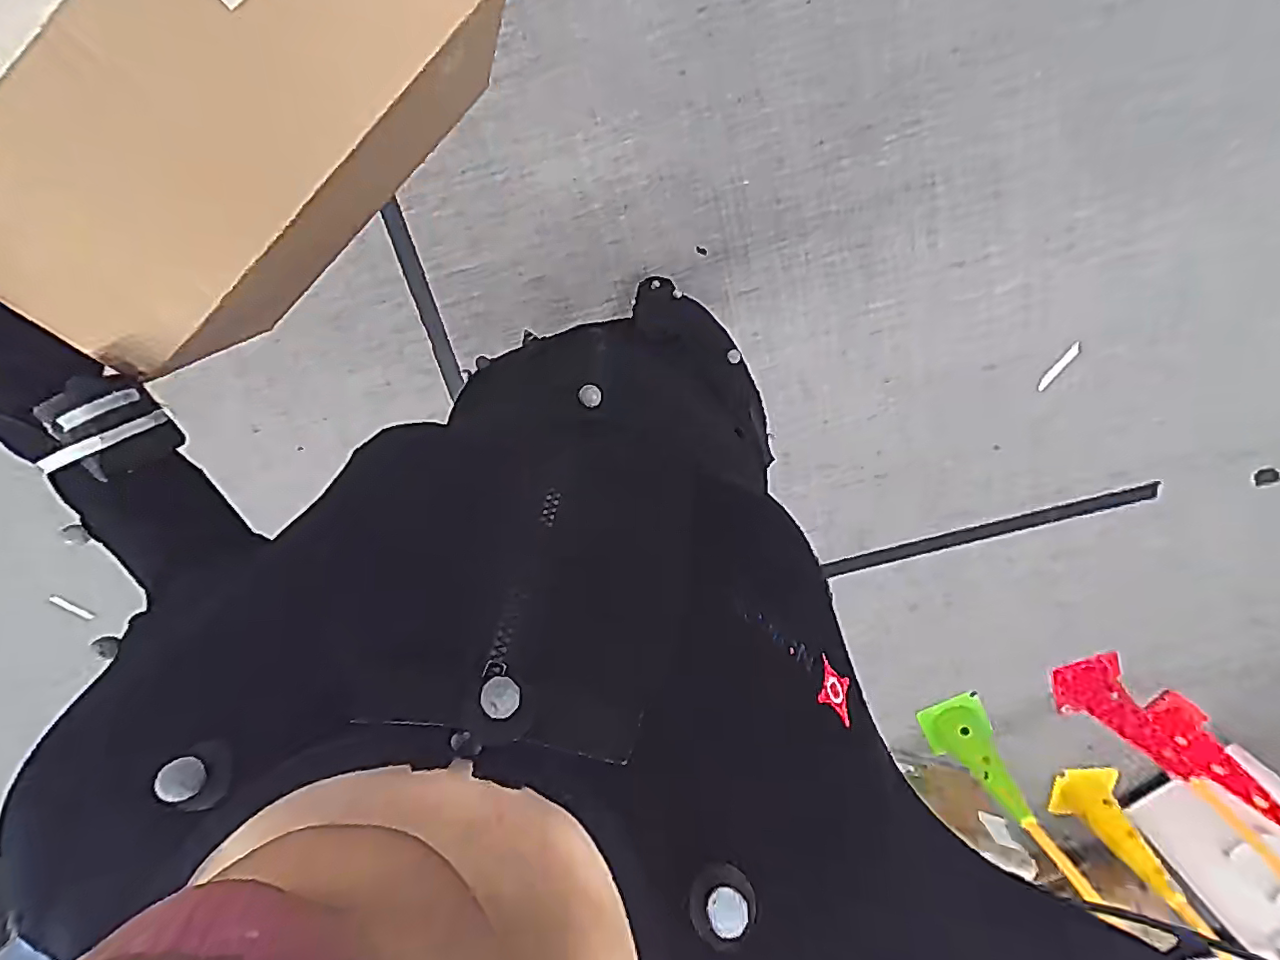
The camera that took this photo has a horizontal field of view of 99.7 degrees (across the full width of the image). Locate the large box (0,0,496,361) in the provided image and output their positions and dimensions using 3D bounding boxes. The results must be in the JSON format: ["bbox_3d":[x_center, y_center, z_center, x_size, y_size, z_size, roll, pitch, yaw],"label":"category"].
[{"bbox_3d":[-0.370,-0.369,0.454,0.408,0.320,0.320,-46,118,4],"label":"large box"}]
